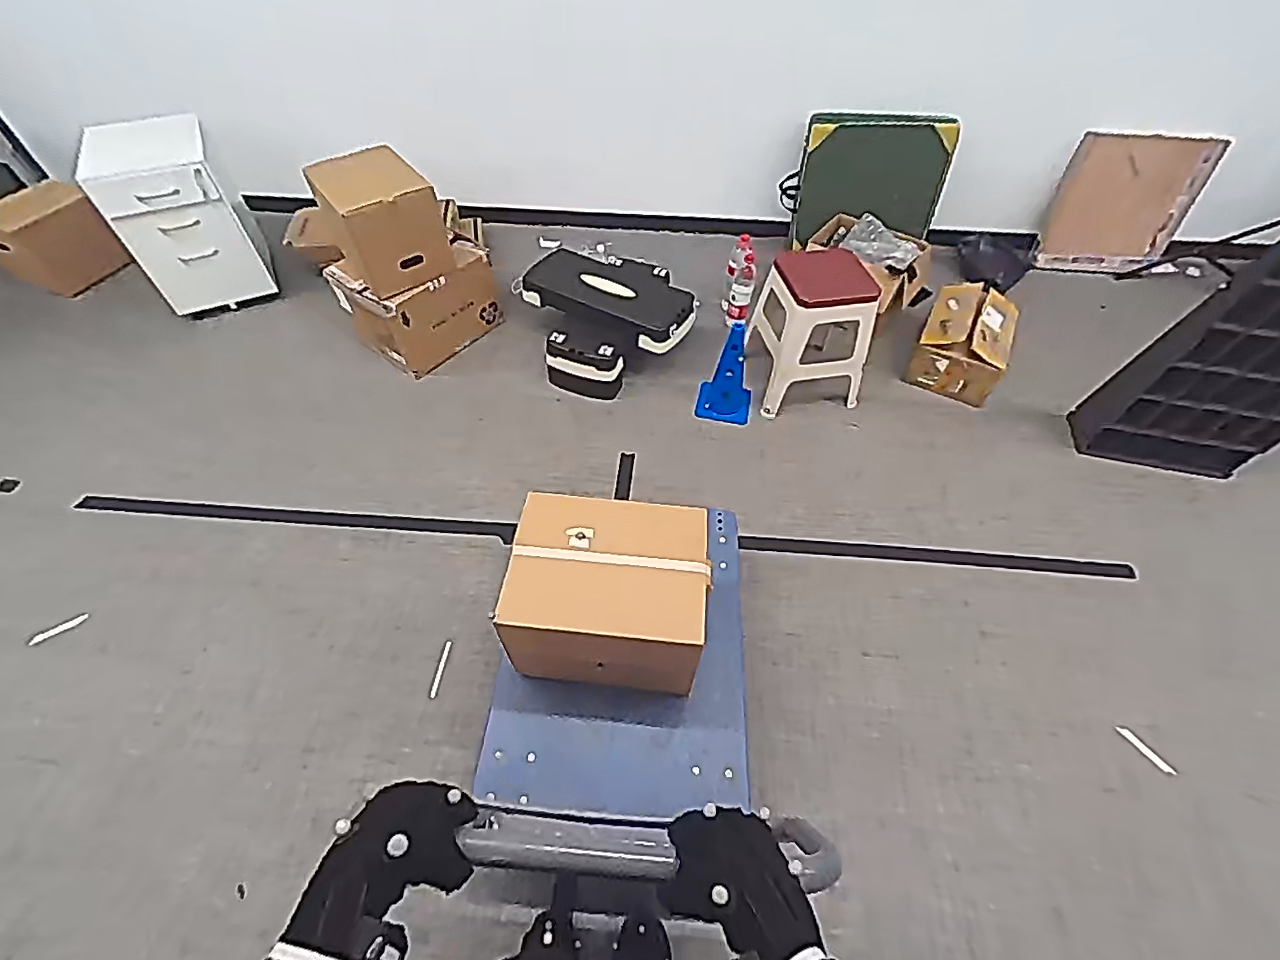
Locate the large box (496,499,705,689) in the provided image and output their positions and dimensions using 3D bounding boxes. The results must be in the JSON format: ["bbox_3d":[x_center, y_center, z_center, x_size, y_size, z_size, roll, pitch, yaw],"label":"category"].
[{"bbox_3d":[-0.066,0.266,1.233,0.408,0.320,0.320,5,52,3],"label":"large box"}]
